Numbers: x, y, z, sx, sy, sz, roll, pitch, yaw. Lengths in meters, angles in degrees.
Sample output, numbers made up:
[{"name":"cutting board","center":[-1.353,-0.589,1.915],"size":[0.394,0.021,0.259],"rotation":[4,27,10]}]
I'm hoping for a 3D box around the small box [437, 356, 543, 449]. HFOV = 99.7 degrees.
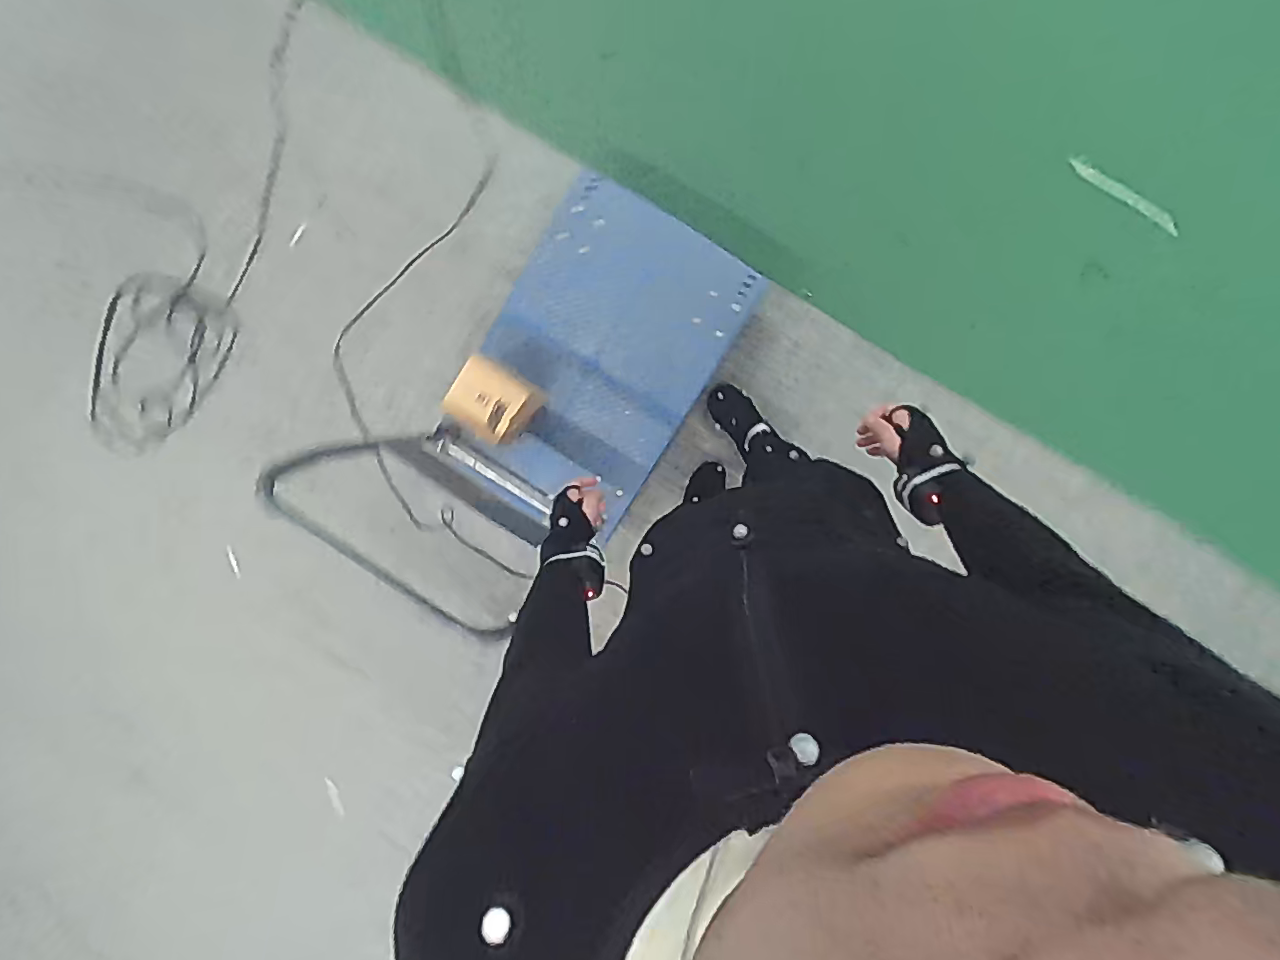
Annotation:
[{"name":"small box","center":[-0.378,-0.199,1.396],"size":[0.179,0.176,0.168],"rotation":[34,98,2]}]
